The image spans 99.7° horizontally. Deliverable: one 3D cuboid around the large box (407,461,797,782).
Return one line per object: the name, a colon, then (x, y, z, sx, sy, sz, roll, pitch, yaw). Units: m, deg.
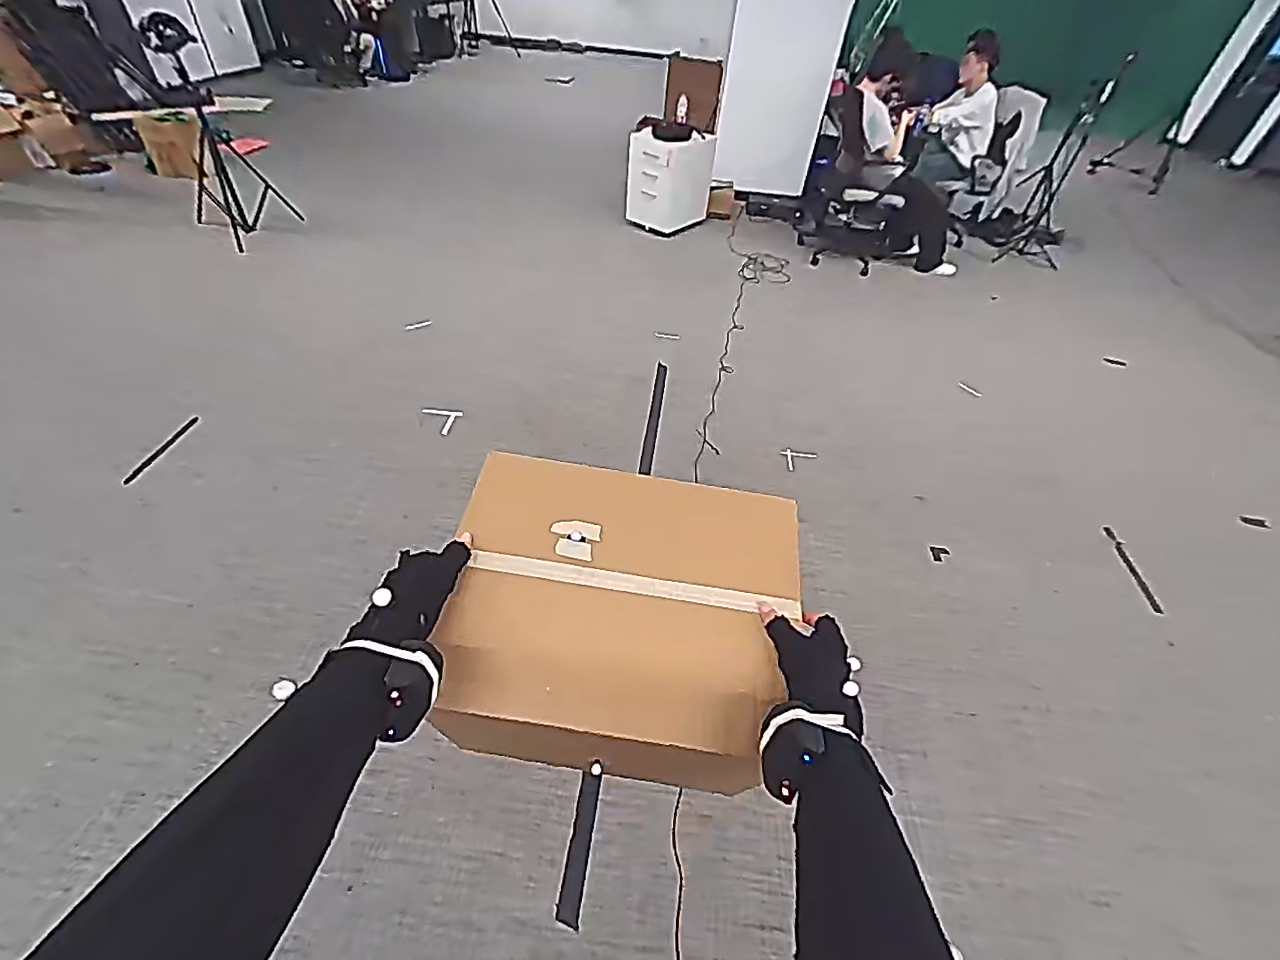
large box: (-0.031, 0.208, 0.746, 0.408, 0.320, 0.320, 9, 55, 1)
